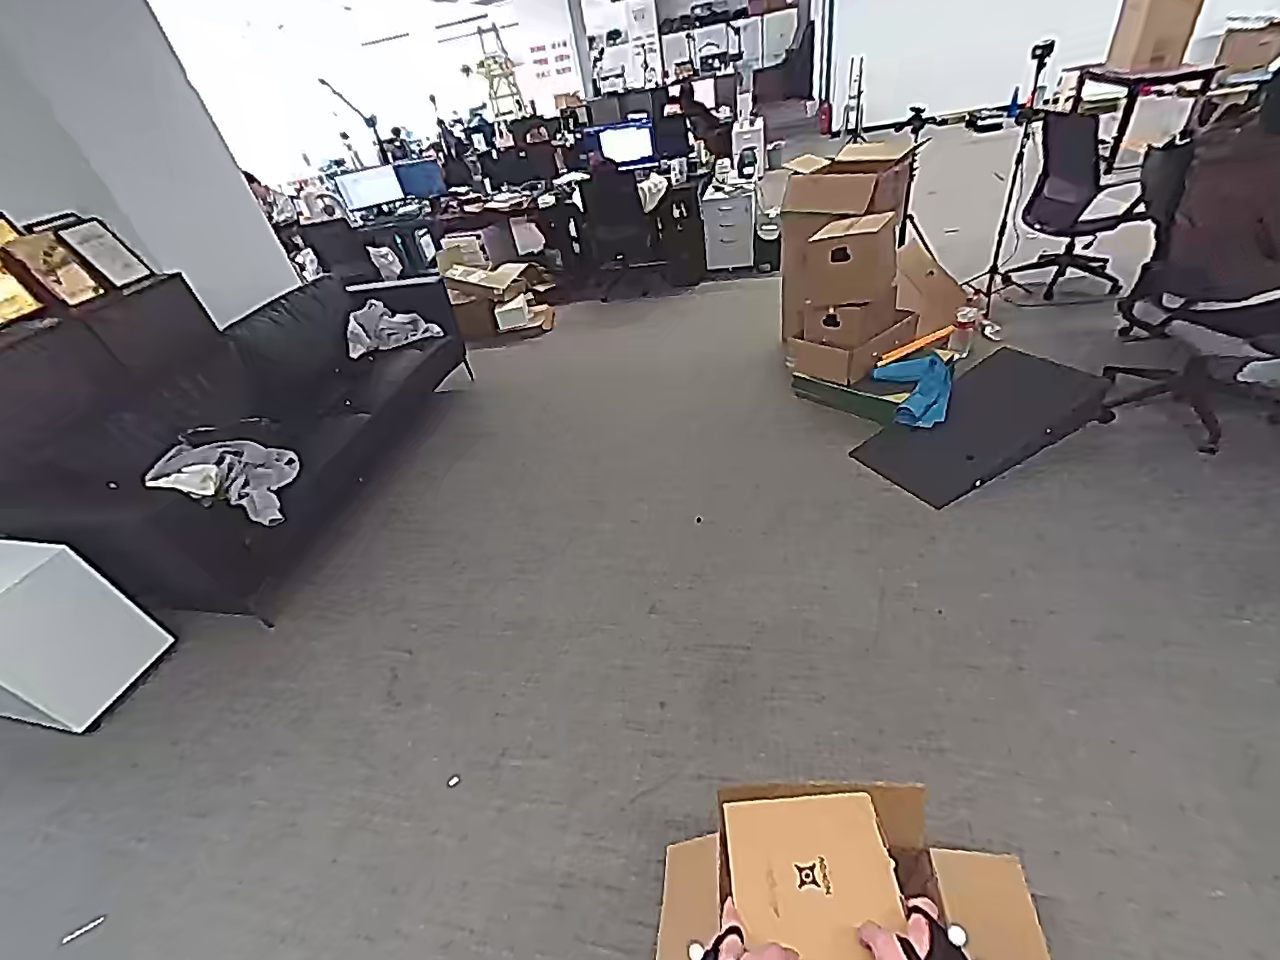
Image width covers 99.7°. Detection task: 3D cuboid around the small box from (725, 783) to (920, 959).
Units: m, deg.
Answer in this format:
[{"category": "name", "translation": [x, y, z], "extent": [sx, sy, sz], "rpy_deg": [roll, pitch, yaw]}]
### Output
[{"category": "small box", "translation": [0.201, 0.481, 0.625], "extent": [0.179, 0.176, 0.168], "rpy_deg": [-10, 30, 10]}]
